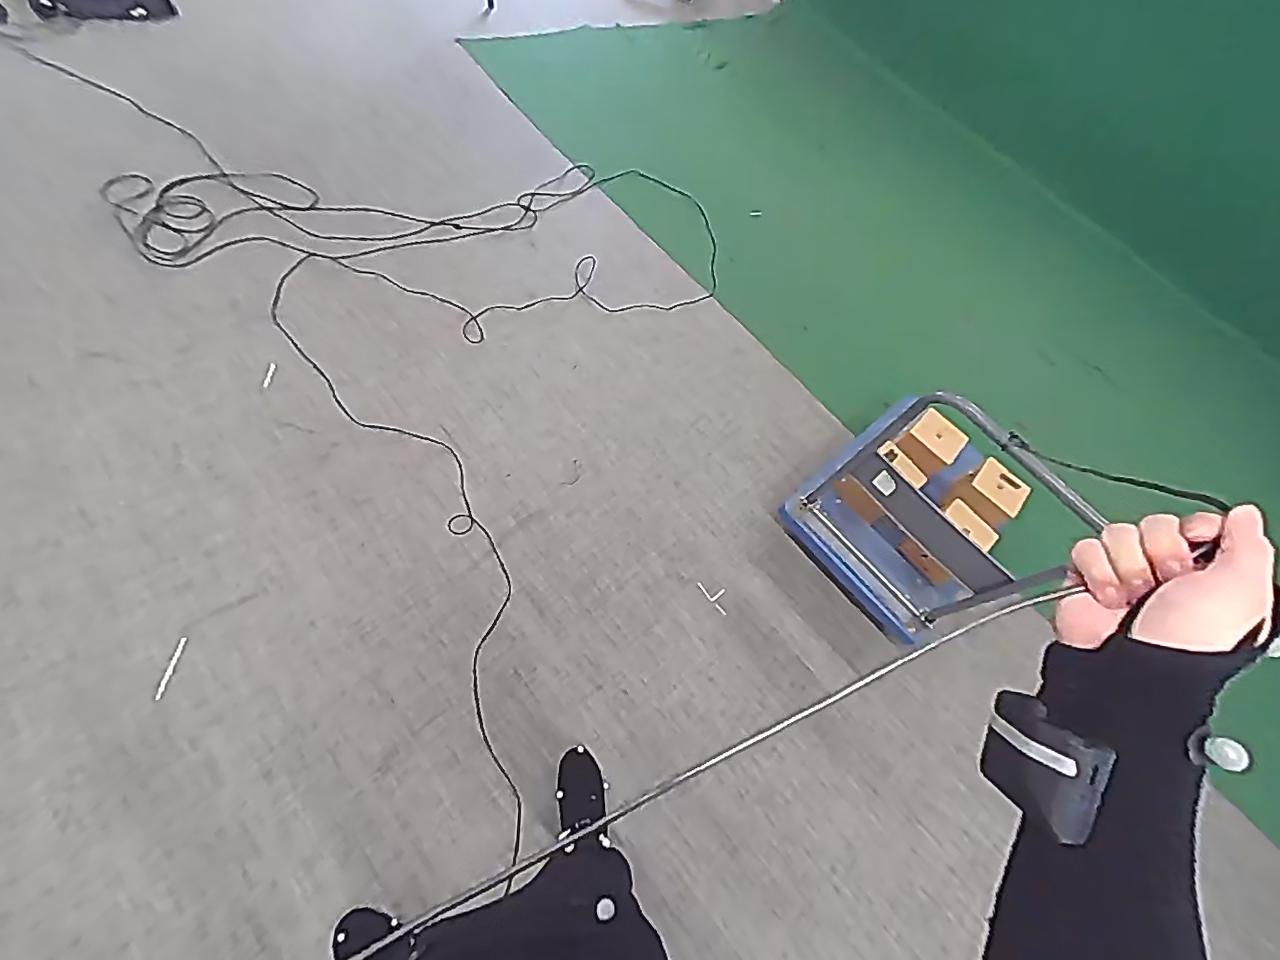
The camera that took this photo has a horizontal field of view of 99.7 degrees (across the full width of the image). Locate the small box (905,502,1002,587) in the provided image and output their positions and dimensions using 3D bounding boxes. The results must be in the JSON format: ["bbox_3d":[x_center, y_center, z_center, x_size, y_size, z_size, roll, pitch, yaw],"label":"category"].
[{"bbox_3d":[0.977,0.205,1.698,0.179,0.176,0.168,-34,74,-28],"label":"small box"}]

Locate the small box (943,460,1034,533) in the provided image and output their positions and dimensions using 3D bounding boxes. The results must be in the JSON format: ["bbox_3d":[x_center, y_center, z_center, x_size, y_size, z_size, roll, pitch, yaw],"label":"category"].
[{"bbox_3d":[1.172,0.071,1.828,0.168,0.176,0.179,44,60,13],"label":"small box"}]

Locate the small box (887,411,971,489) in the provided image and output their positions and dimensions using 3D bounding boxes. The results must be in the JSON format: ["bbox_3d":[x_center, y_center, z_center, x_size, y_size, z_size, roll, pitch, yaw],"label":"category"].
[{"bbox_3d":[0.994,-0.100,1.880,0.168,0.176,0.179,45,59,11],"label":"small box"}]
